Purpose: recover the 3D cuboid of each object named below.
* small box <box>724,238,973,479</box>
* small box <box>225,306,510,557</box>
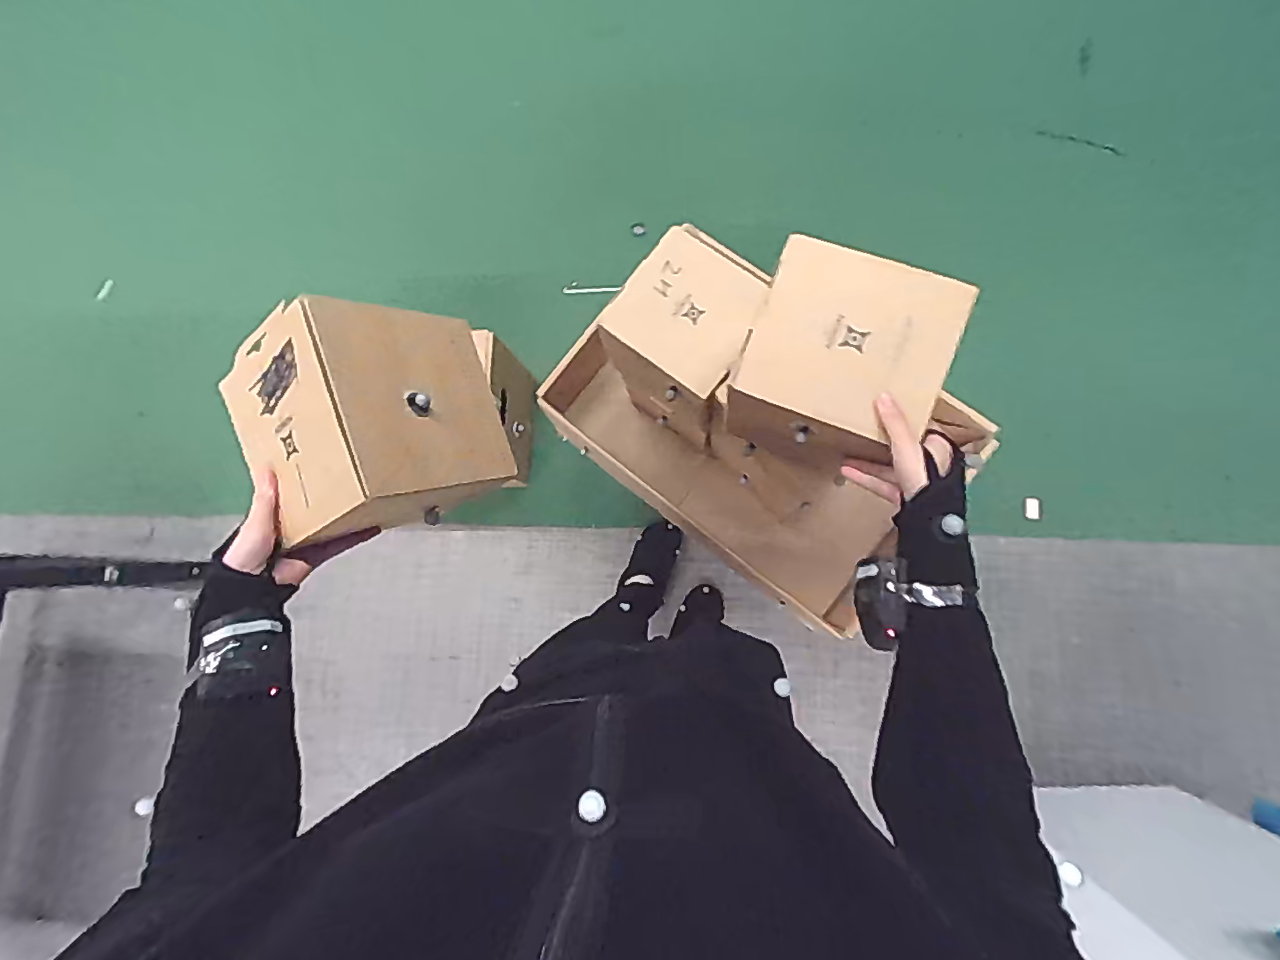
[{"bbox_3d":[0.199,-0.113,0.569,0.179,0.176,0.168,23,84,12],"label":"small box"},{"bbox_3d":[-0.262,-0.043,0.537,0.168,0.176,0.179,-24,85,31],"label":"small box"}]
